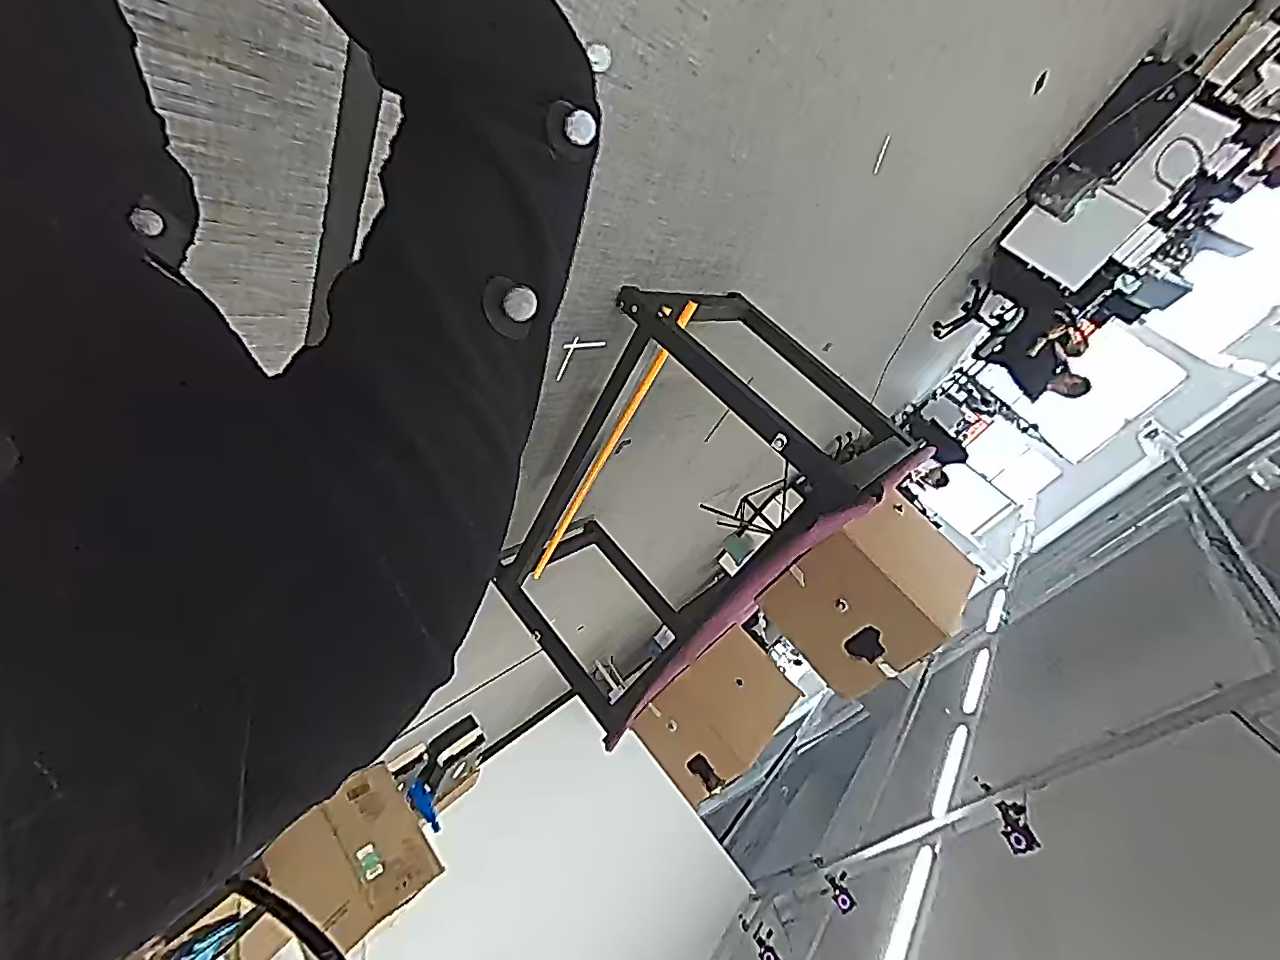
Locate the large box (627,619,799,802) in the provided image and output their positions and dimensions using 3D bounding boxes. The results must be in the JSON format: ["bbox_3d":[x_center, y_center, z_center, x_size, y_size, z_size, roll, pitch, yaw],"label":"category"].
[{"bbox_3d":[0.234,0.725,1.745,0.408,0.320,0.320,-22,153,-50],"label":"large box"}]
